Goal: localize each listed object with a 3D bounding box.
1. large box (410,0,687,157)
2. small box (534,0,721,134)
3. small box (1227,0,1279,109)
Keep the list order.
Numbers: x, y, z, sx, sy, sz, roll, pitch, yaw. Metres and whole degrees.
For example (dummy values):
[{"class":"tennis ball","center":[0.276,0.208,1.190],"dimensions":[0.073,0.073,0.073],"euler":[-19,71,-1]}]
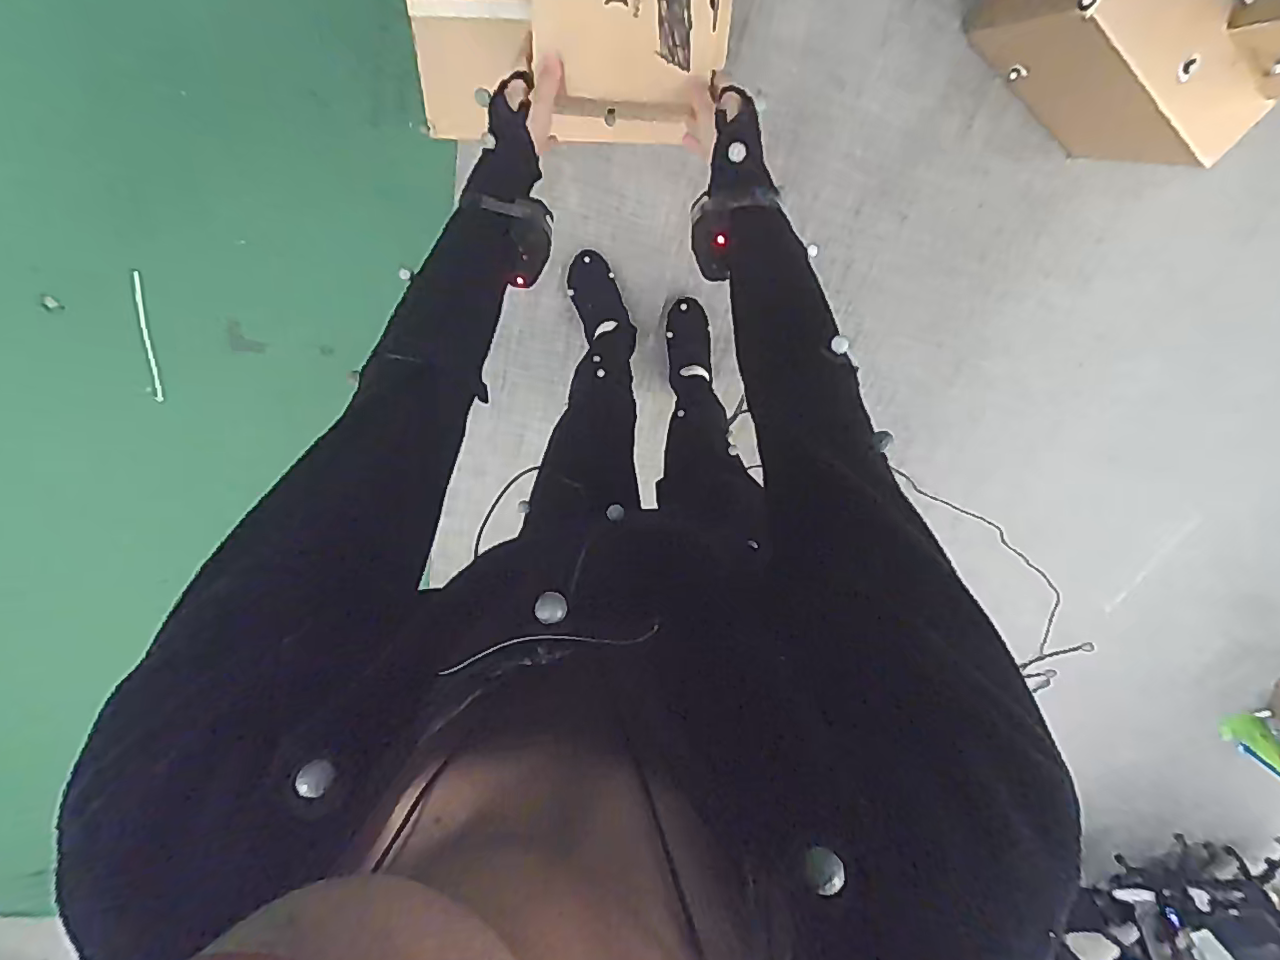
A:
[{"class":"large box","center":[-0.131,-0.730,0.903],"dimensions":[0.408,0.320,0.320],"euler":[-1,122,-4]},{"class":"small box","center":[-0.020,-0.473,0.570],"dimensions":[0.179,0.176,0.168],"euler":[0,117,-7]},{"class":"small box","center":[1.028,-0.669,0.770],"dimensions":[0.168,0.176,0.179],"euler":[28,115,-21]}]
